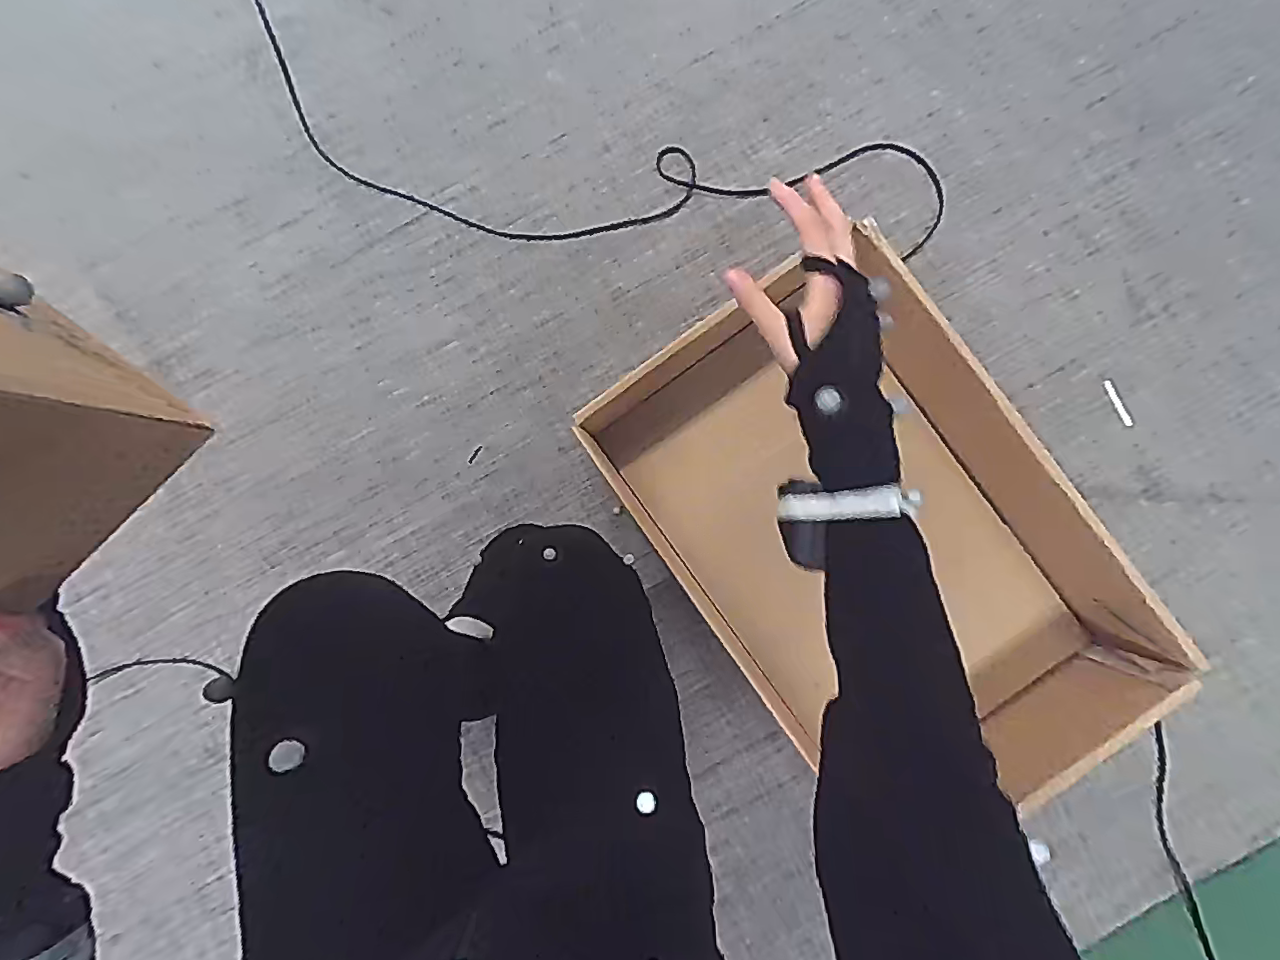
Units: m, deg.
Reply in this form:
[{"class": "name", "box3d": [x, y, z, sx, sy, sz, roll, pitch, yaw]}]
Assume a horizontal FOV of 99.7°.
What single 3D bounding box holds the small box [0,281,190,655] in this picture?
[{"class": "small box", "box3d": [-0.309, -0.005, 0.170, 0.168, 0.176, 0.179, 41, 79, -13]}]
